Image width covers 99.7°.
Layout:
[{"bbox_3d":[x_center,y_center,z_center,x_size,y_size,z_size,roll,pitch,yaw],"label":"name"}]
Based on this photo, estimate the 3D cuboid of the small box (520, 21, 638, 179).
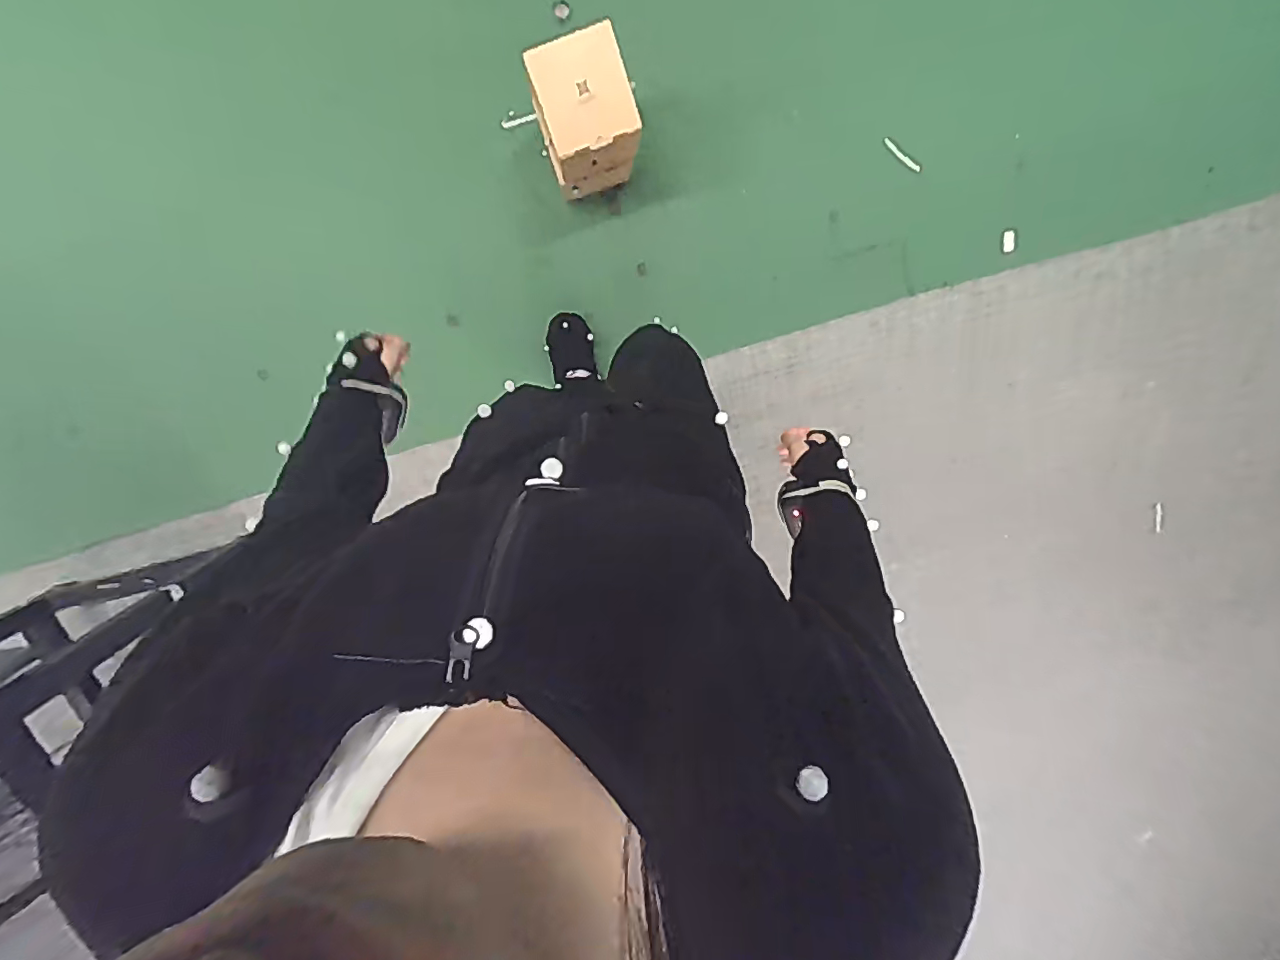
[{"bbox_3d":[-0.116,-0.713,1.035,0.168,0.176,0.179,-21,108,1],"label":"small box"}]
